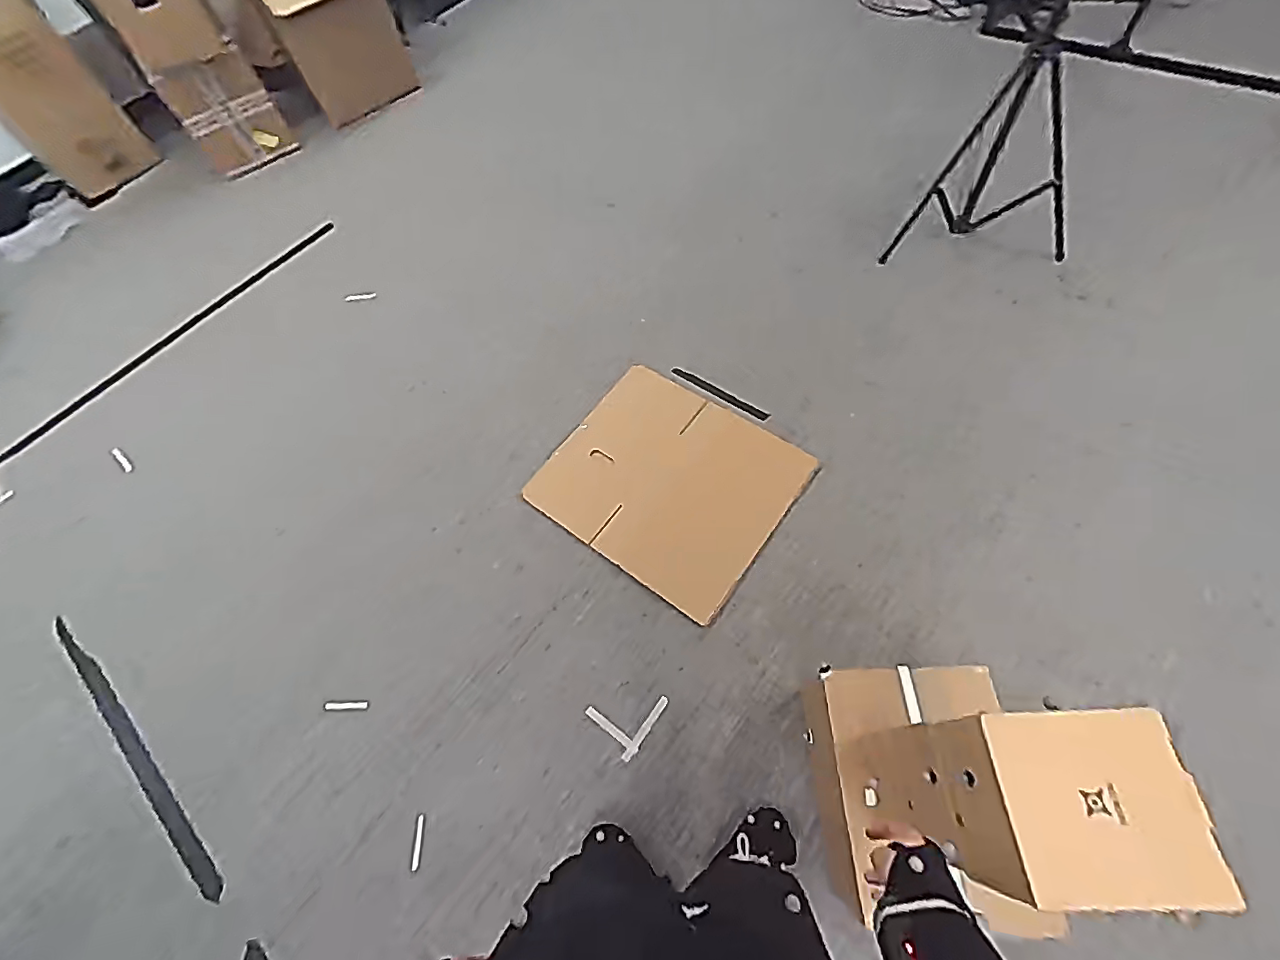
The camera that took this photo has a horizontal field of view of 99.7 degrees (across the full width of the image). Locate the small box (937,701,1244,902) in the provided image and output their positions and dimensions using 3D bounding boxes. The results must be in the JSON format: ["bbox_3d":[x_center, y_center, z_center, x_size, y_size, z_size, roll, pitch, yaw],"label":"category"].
[{"bbox_3d":[0.449,0.340,0.585,0.179,0.176,0.168,-5,61,5],"label":"small box"}]

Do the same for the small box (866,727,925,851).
[{"bbox_3d":[0.488,0.490,0.873,0.179,0.176,0.168,-5,61,6],"label":"small box"}]

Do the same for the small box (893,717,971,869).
[{"bbox_3d":[0.471,0.413,0.729,0.179,0.176,0.168,-4,61,5],"label":"small box"}]
